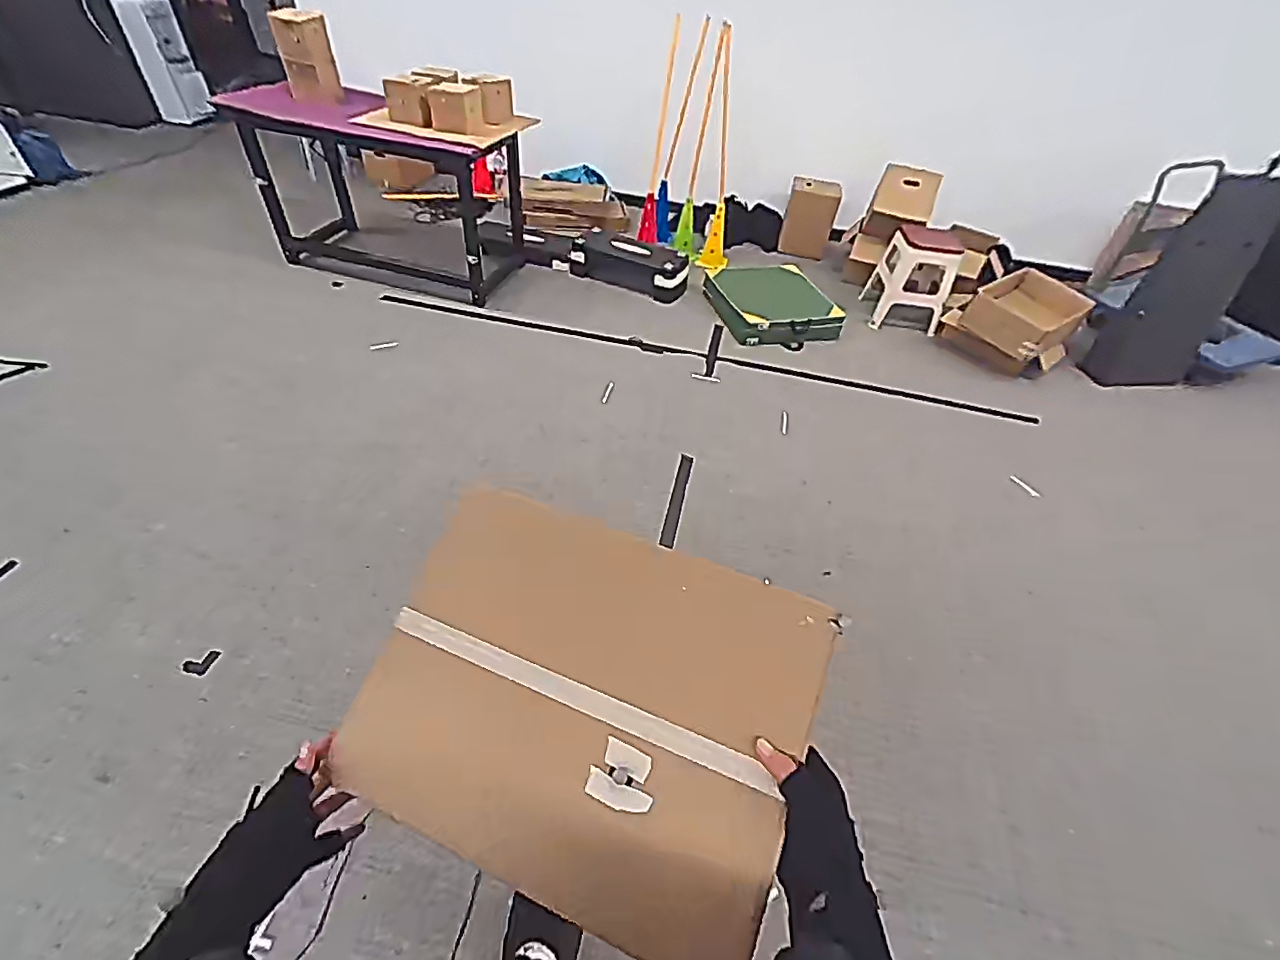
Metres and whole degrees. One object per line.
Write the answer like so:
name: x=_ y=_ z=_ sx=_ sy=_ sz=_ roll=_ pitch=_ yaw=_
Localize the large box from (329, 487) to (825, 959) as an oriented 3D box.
large box: x=-0.045 y=0.249 z=0.648 sx=0.408 sy=0.320 sz=0.320 roll=18 pitch=72 yaw=13
